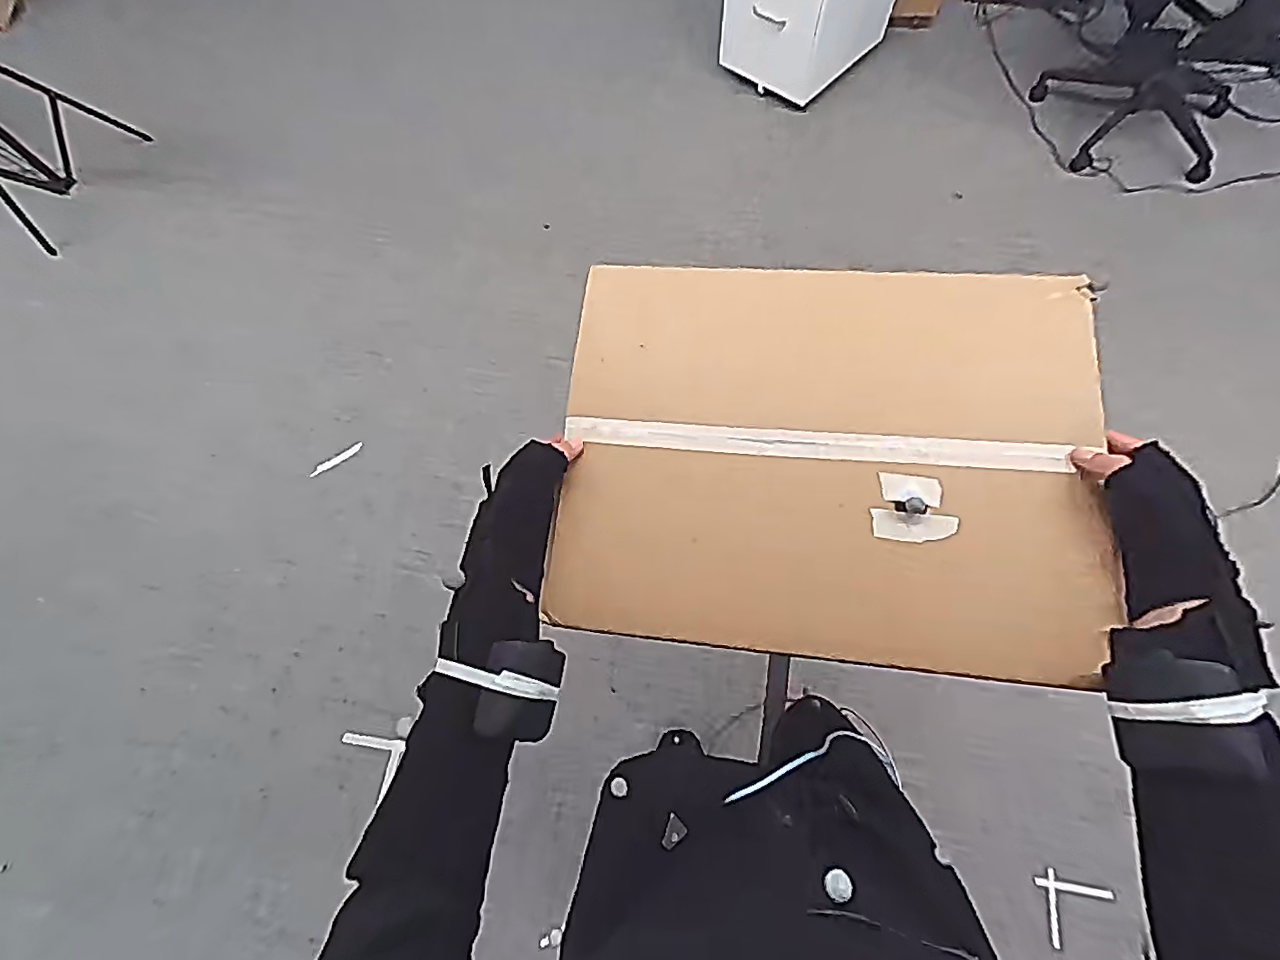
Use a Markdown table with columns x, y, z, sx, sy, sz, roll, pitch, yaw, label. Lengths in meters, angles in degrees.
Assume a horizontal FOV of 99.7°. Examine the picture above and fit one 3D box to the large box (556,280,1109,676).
| x | y | z | sx | sy | sz | roll | pitch | yaw | label |
| --- | --- | --- | --- | --- | --- | --- | --- | --- | --- |
| 0.156 | 0.014 | 0.575 | 0.408 | 0.320 | 0.320 | 4 | 77 | 8 | large box |
